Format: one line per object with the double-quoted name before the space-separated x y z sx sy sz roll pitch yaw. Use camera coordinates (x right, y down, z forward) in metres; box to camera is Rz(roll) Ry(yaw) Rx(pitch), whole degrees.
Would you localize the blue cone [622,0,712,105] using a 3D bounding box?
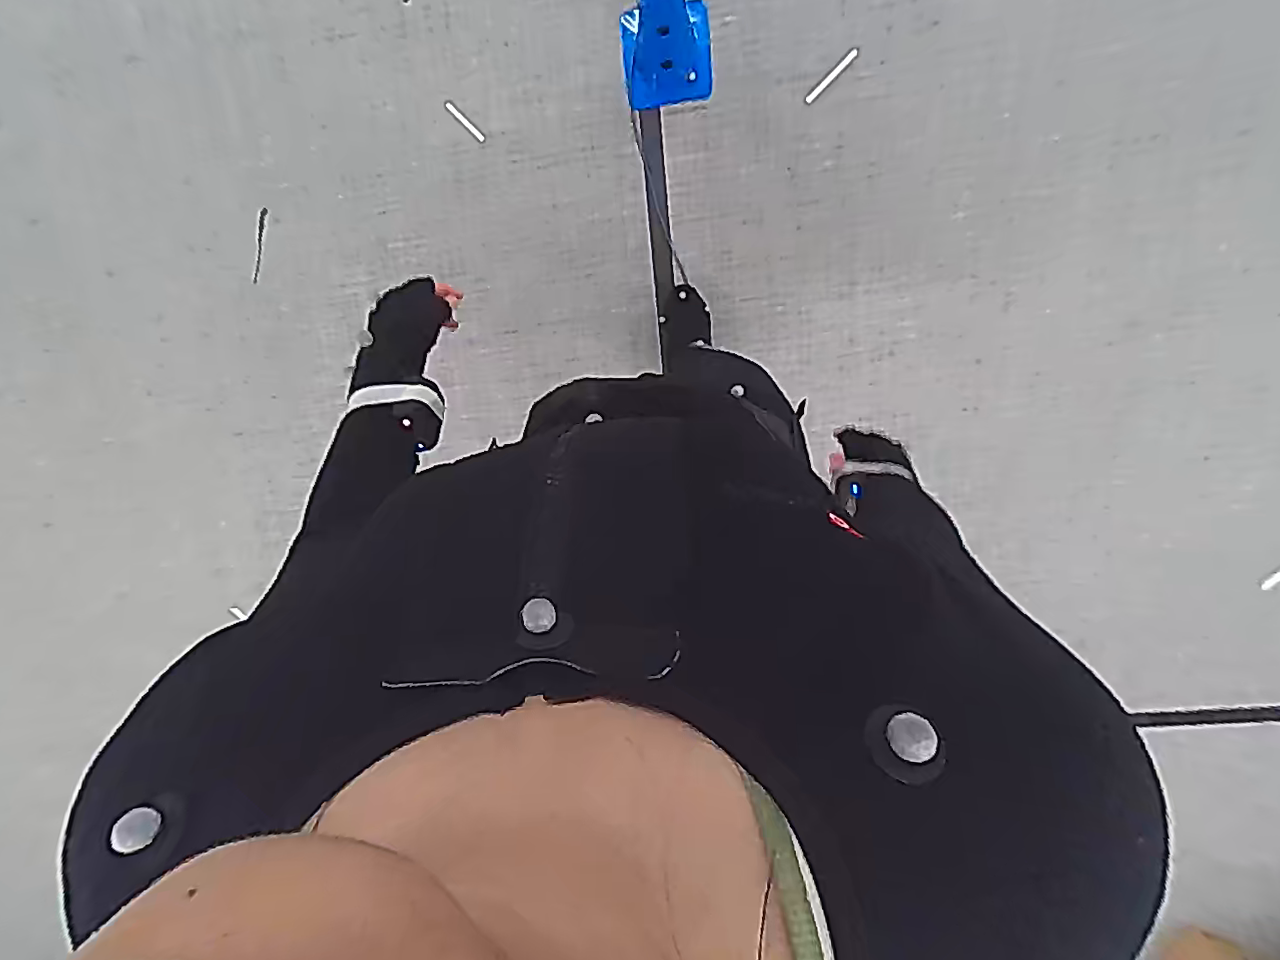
"blue cone" 0.045 -0.923 1.051 0.193 0.380 0.192 -6 102 6
